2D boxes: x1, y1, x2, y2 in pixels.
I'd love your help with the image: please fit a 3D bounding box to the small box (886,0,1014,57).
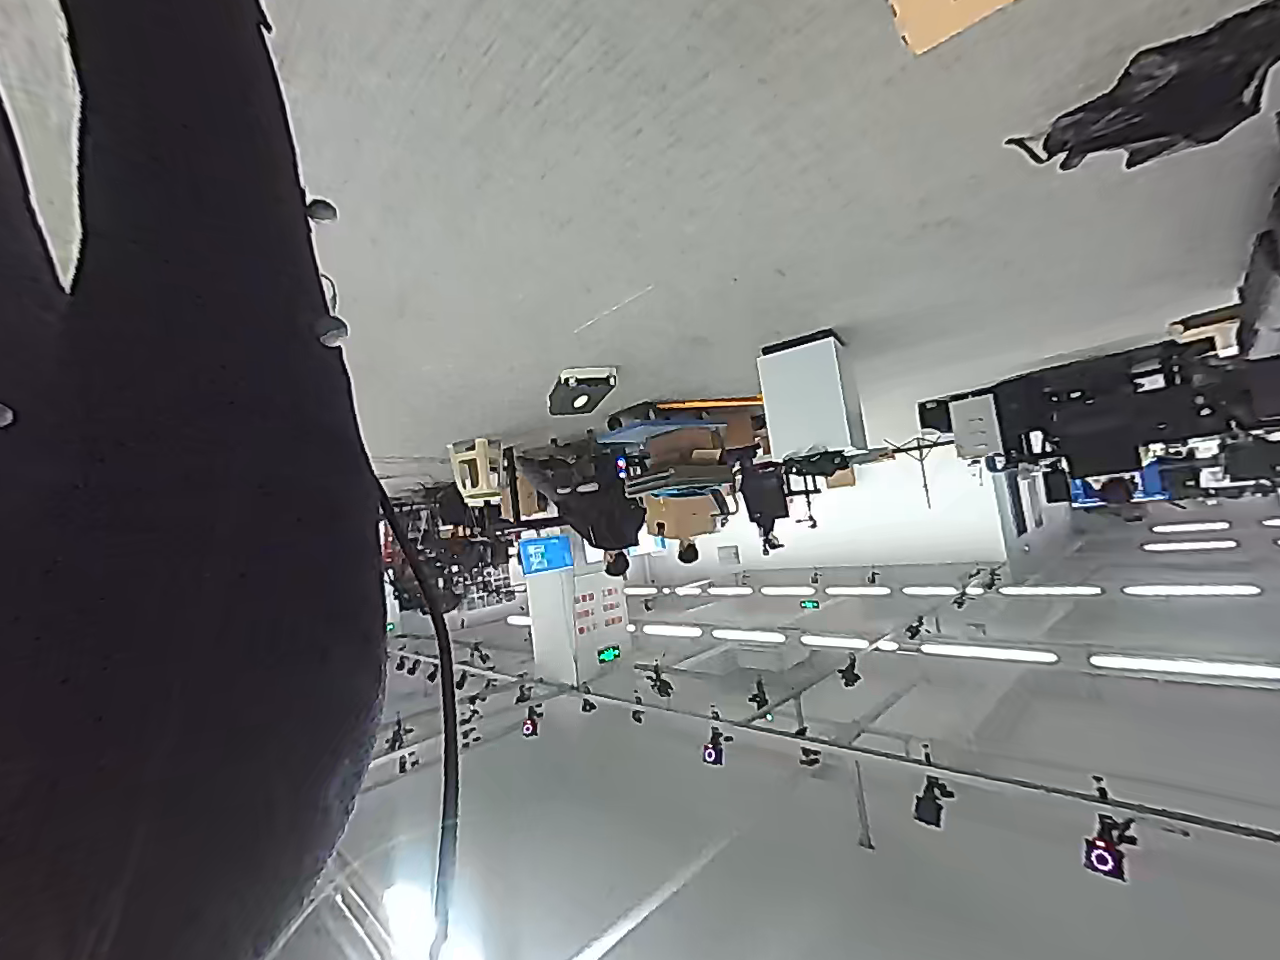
[{"bbox_3d":[0.430,-0.754,0.741,0.179,0.176,0.168,-12,176,38],"label":"small box"}]
